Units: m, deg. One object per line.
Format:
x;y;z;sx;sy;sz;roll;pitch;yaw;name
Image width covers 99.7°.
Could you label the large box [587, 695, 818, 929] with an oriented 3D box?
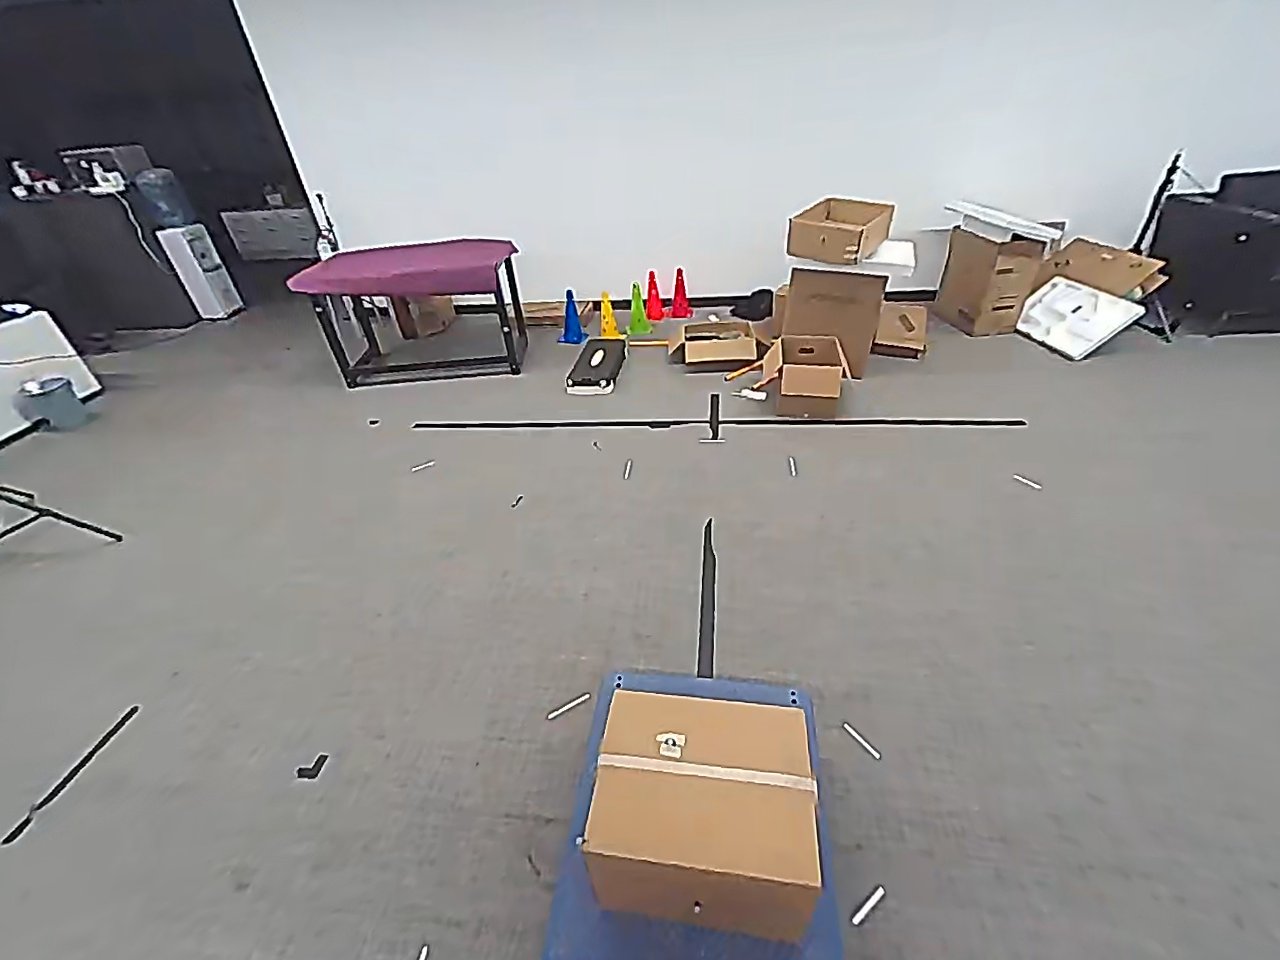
0.134;0.686;1.134;0.408;0.320;0.320;1;36;9;large box
